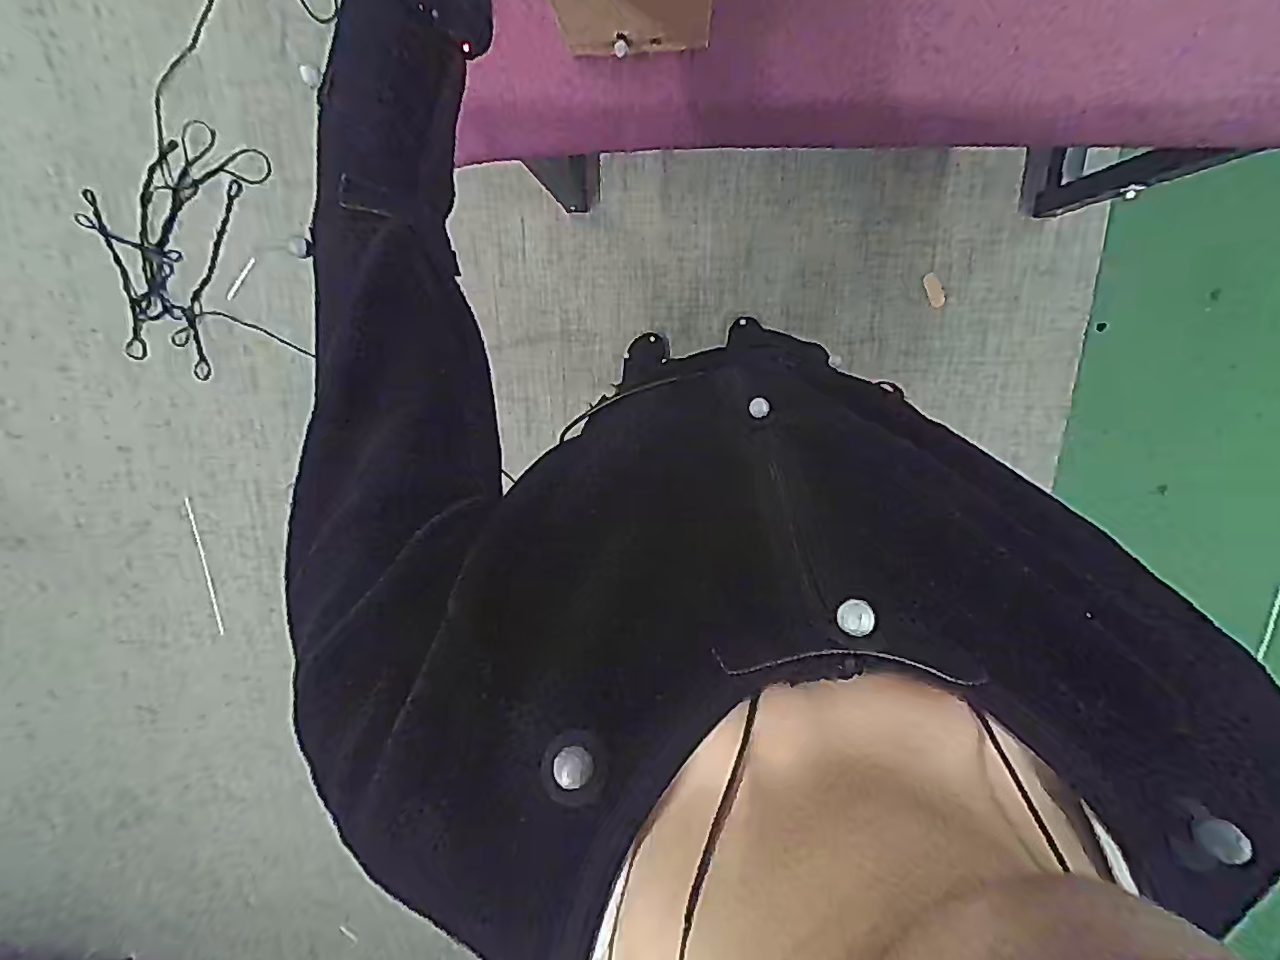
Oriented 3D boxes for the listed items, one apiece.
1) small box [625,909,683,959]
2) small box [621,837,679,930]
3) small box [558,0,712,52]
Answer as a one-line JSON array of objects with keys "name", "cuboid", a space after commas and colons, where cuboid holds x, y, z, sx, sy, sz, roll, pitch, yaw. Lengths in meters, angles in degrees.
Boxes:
[{"name": "small box", "cuboid": [0.044, 1.583, 1.847, 0.168, 0.176, 0.179, 14, 106, 1]}, {"name": "small box", "cuboid": [0.034, 1.316, 1.775, 0.168, 0.176, 0.179, 8, 106, 3]}, {"name": "small box", "cuboid": [-0.008, -0.574, 0.541, 0.168, 0.176, 0.179, 0, 106, 5]}]
